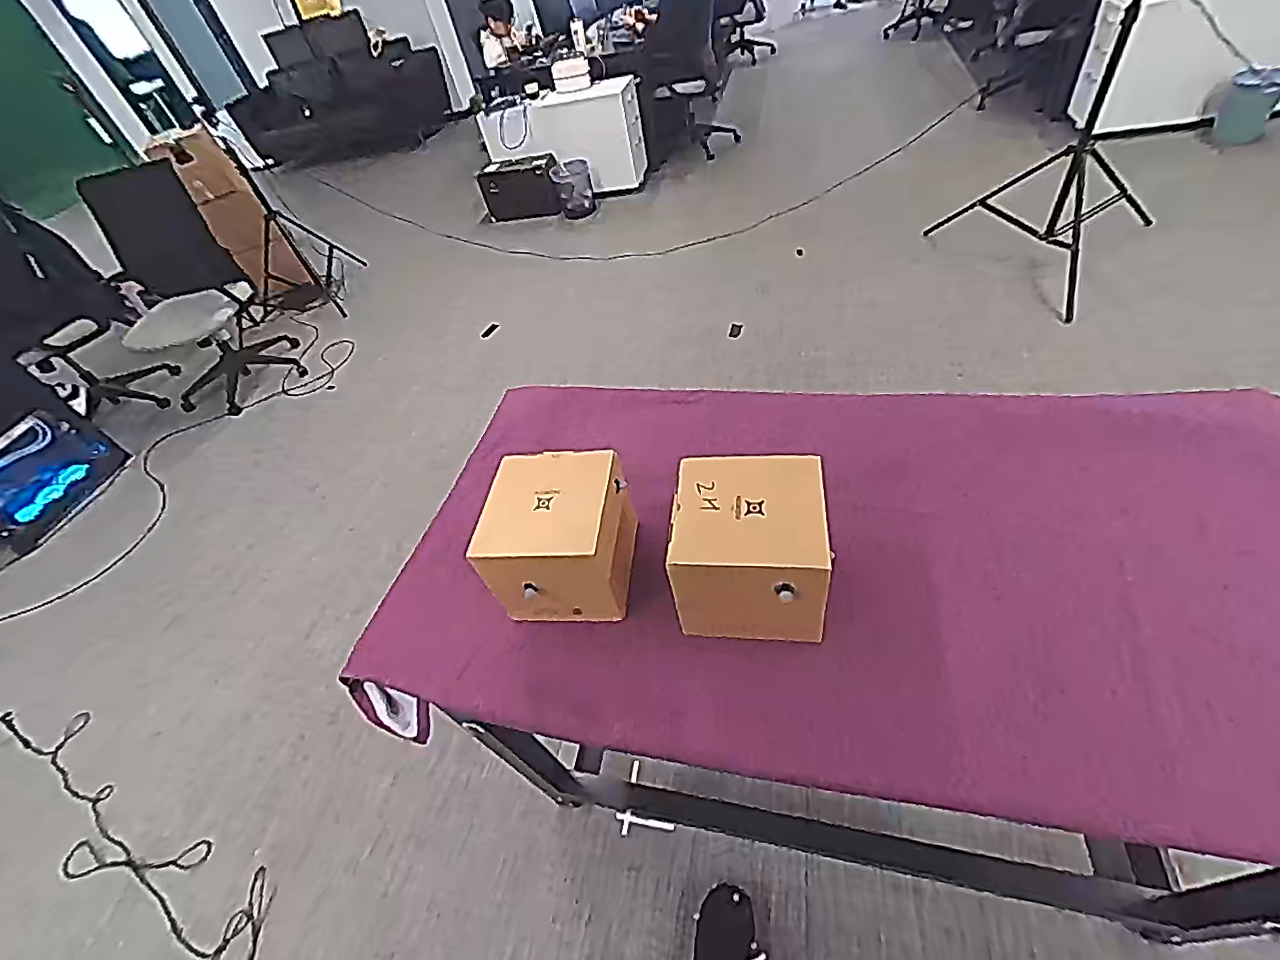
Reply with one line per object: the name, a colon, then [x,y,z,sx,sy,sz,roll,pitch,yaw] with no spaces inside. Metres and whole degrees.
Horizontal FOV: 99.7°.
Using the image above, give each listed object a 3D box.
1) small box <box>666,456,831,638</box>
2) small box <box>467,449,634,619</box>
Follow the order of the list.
small box: [0.137,0.086,0.684,0.179,0.176,0.168,-1,47,13]
small box: [-0.109,0.081,0.755,0.168,0.176,0.179,-3,47,11]
